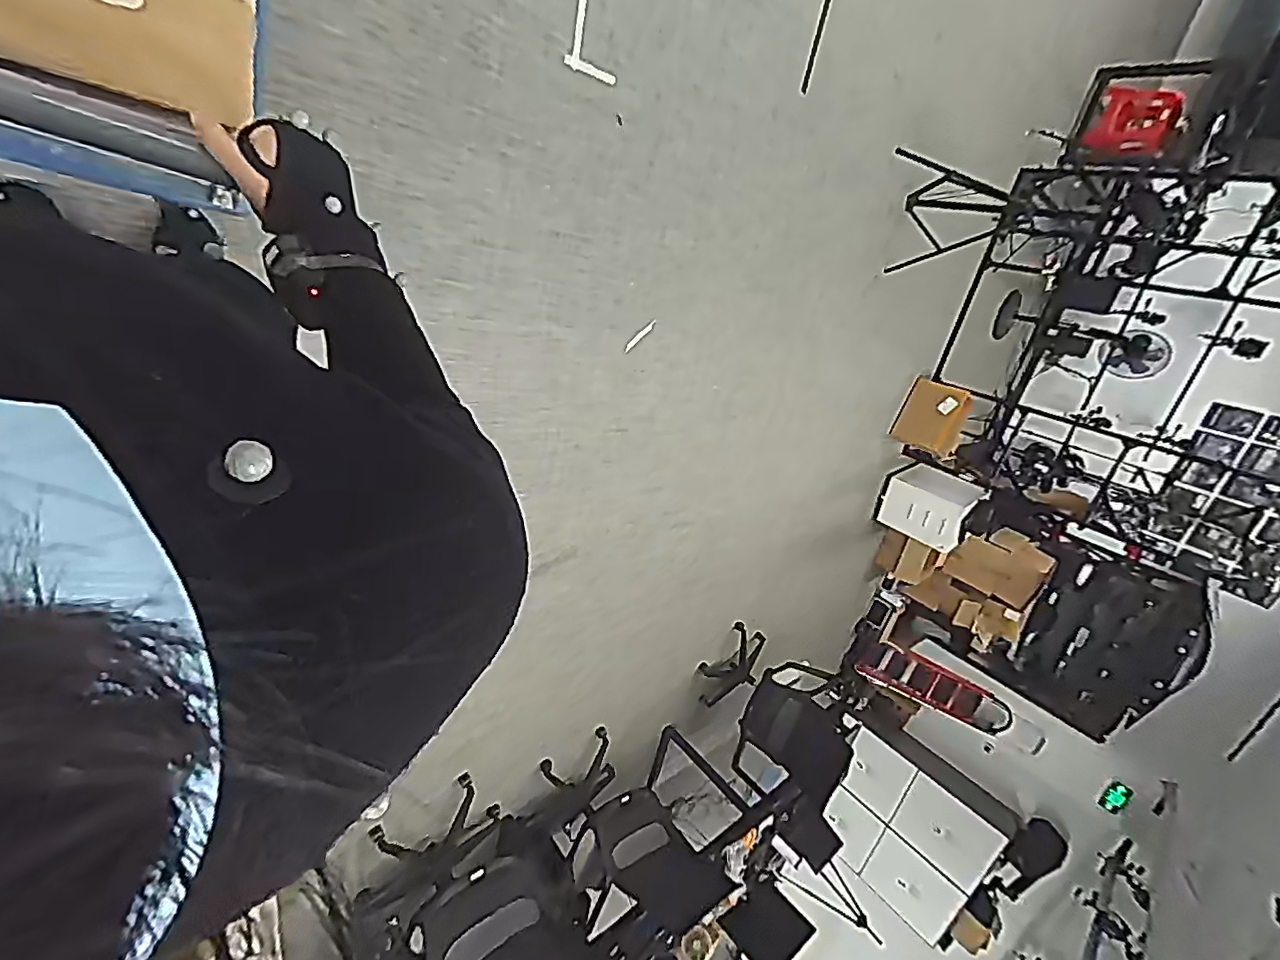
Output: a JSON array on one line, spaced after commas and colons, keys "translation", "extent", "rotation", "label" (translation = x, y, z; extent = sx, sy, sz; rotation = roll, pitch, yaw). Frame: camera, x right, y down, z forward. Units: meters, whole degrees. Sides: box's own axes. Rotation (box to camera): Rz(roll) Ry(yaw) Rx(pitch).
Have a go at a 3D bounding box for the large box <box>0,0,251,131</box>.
[{"translation": [-0.742, -0.660, 0.645], "extent": [0.408, 0.320, 0.320], "rotation": [-6, 119, -45], "label": "large box"}]
